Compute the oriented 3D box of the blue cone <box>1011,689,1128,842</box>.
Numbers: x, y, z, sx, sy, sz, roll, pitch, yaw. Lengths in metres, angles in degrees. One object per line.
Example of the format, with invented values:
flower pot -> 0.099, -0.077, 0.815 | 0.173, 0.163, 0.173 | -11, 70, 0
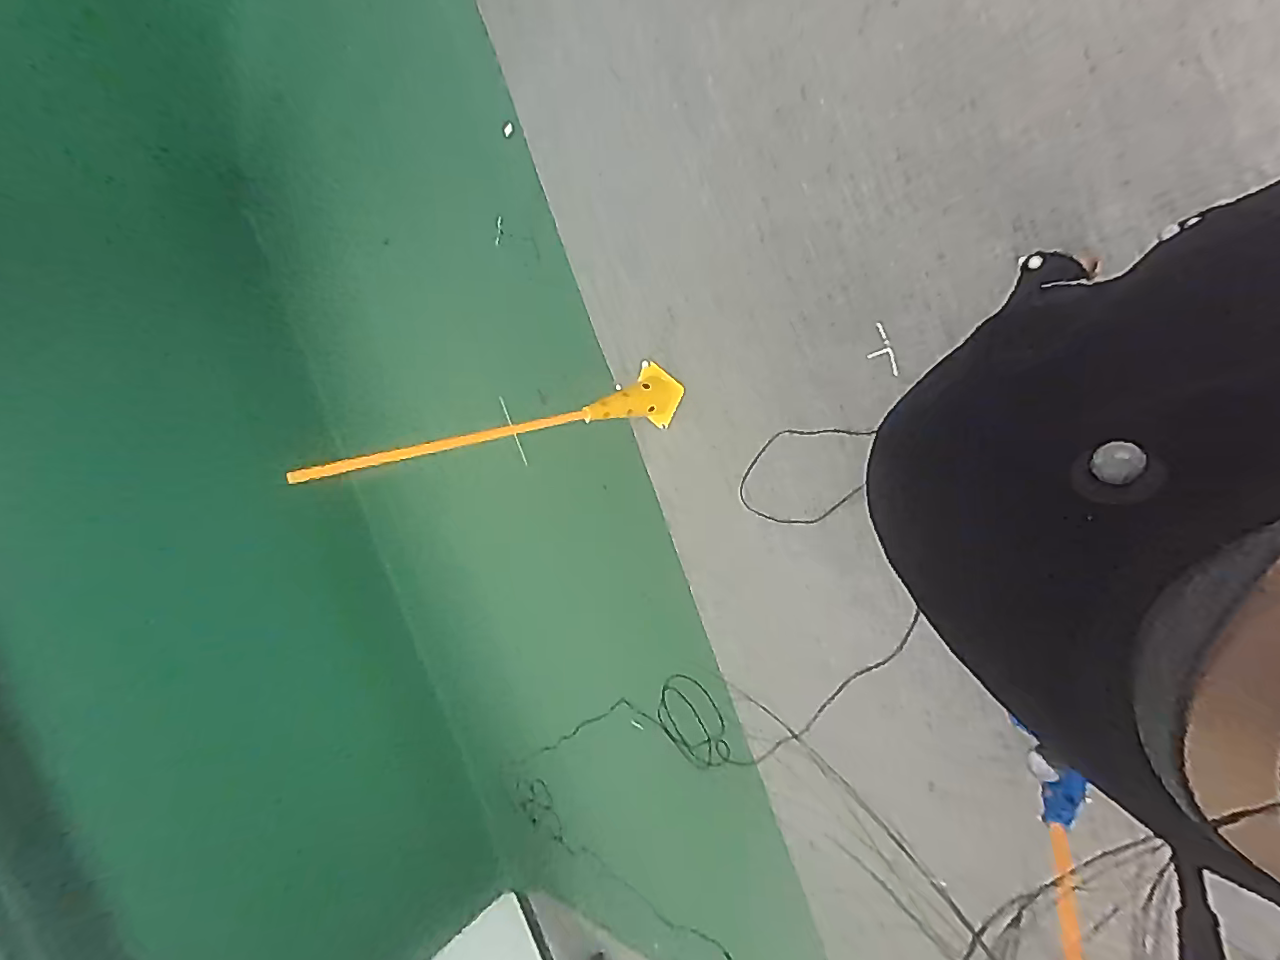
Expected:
blue cone -> 0.987, 0.687, 1.263 | 0.193, 0.380, 0.192 | 35, 127, 26
